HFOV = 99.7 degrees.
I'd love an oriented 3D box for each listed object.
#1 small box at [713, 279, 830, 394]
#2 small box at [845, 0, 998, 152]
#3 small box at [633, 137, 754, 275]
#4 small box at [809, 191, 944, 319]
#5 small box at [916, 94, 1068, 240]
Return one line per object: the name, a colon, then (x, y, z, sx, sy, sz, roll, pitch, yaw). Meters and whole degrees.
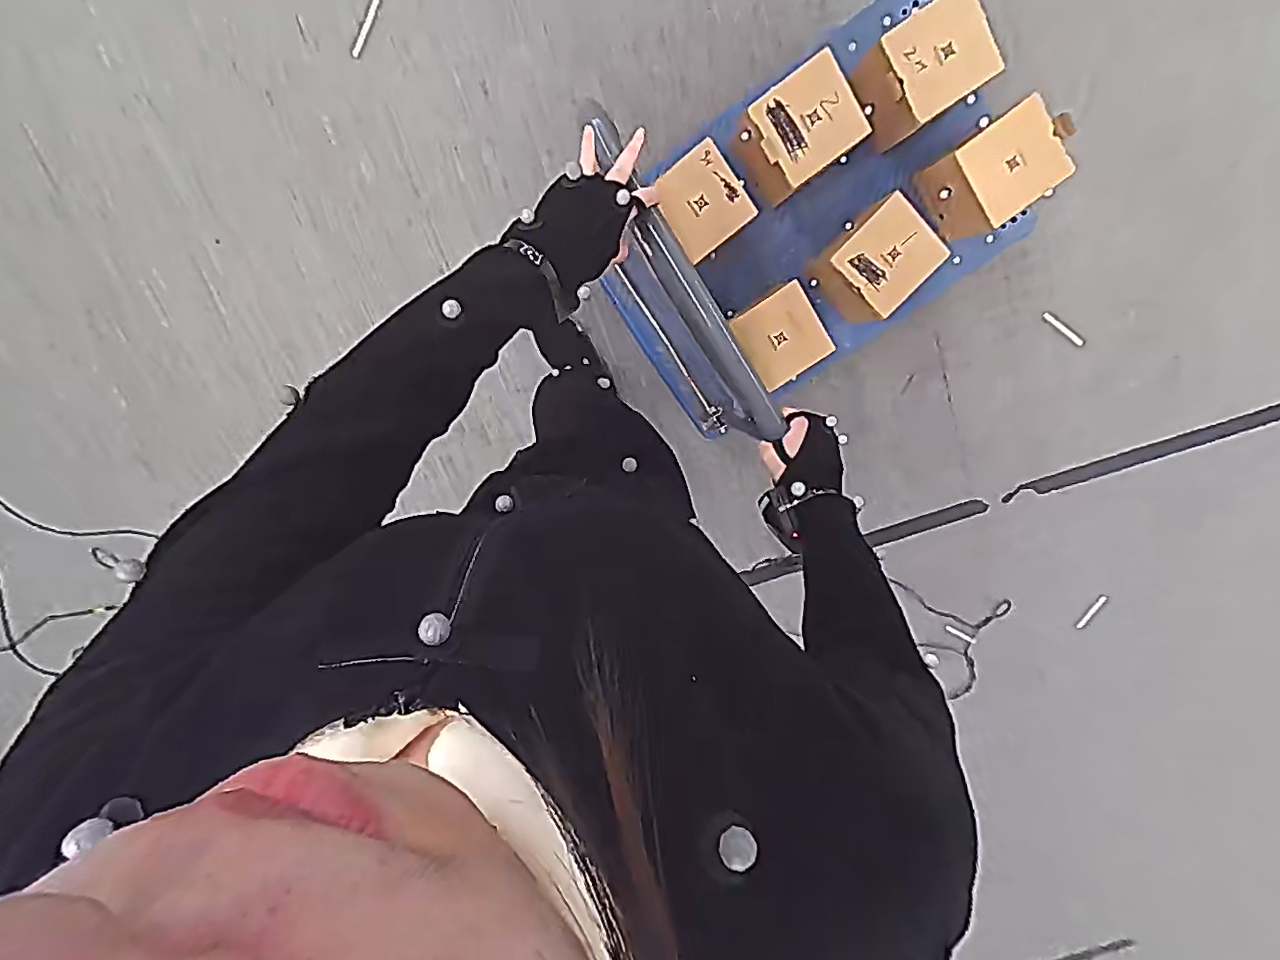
small box: (0.272, -0.305, 1.167, 0.179, 0.176, 0.168, -33, 103, 6)
small box: (0.535, -0.784, 1.049, 0.179, 0.176, 0.168, -31, 103, 7)
small box: (0.102, -0.541, 1.101, 0.179, 0.176, 0.168, -36, 103, 8)
small box: (0.478, -0.456, 1.133, 0.168, 0.176, 0.179, 43, 99, -11)
small box: (0.695, -0.618, 1.097, 0.179, 0.176, 0.168, -36, 102, 7)
